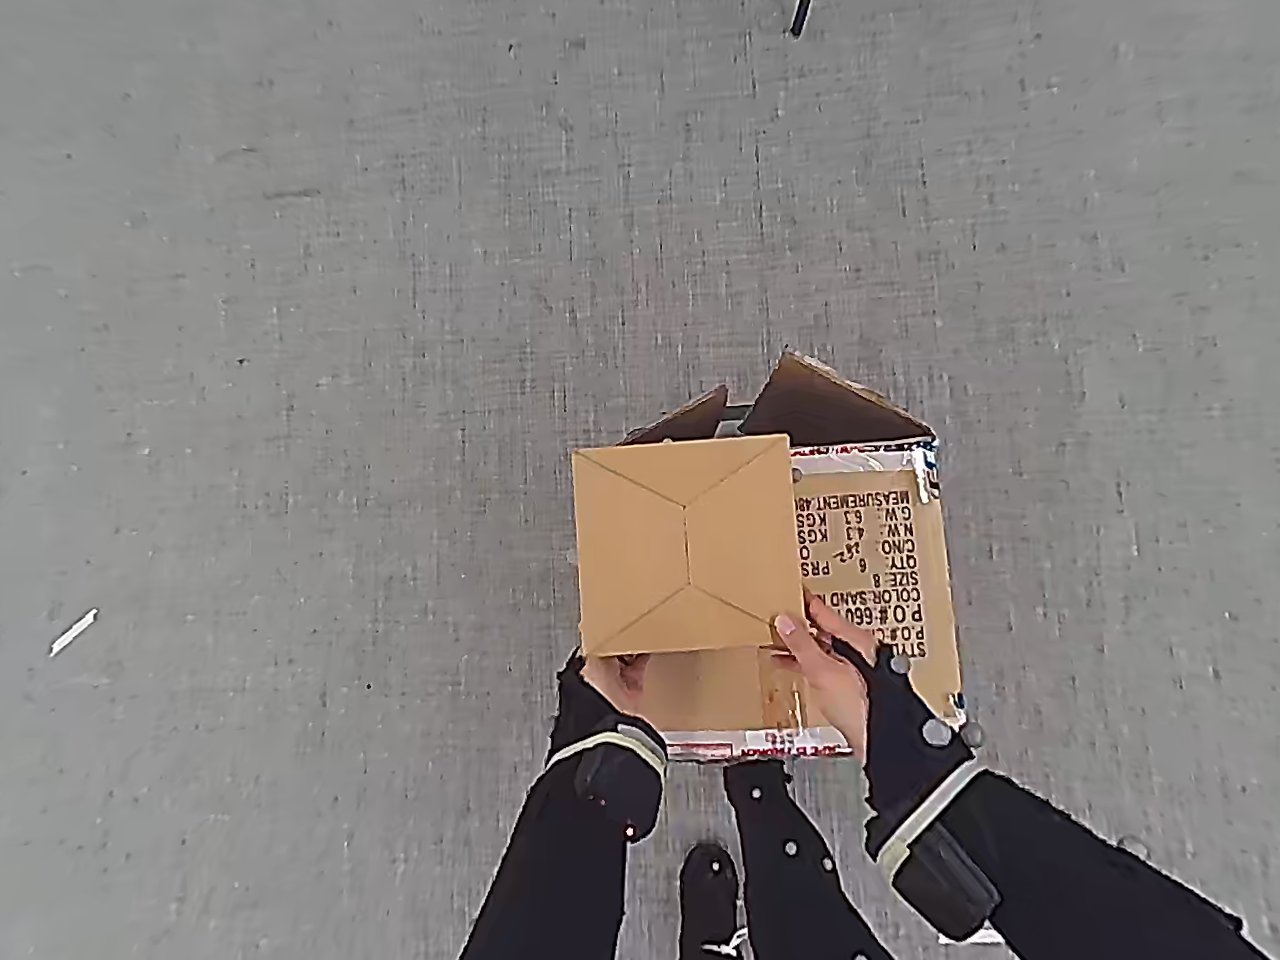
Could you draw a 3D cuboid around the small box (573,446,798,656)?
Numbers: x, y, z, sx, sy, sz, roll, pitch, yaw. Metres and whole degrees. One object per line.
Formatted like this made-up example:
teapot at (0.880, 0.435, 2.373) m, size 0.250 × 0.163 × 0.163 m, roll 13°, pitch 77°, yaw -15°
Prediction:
small box at (0.041, 0.061, 0.513) m, size 0.179 × 0.176 × 0.168 m, roll -4°, pitch 86°, yaw 2°
